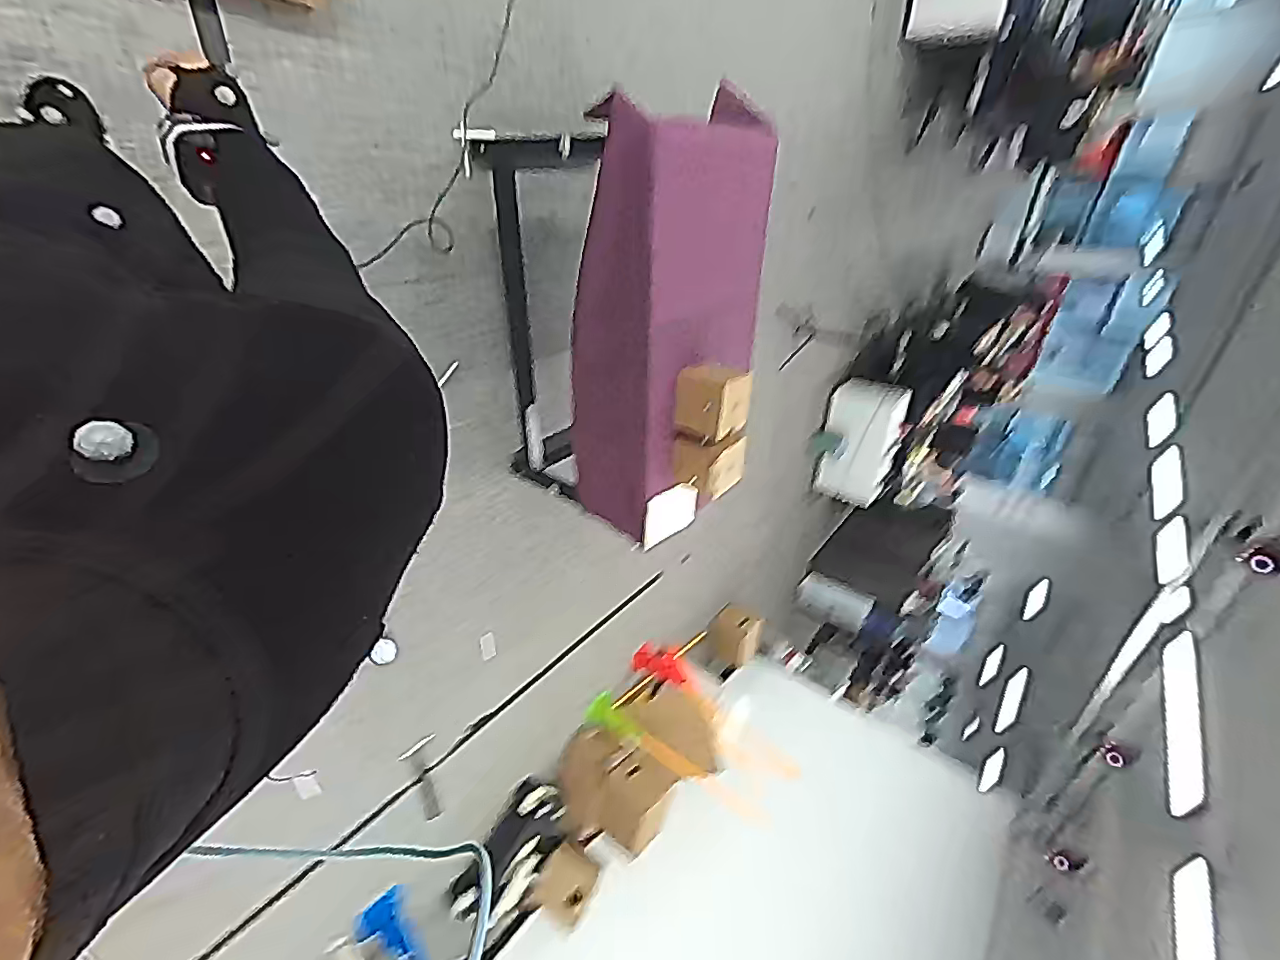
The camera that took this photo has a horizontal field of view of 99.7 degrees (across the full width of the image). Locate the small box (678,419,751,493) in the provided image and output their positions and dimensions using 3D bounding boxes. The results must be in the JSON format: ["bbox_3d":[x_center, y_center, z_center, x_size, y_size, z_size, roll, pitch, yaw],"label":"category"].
[{"bbox_3d":[0.240,-0.084,1.775,0.179,0.176,0.168,-31,133,-43],"label":"small box"}]
